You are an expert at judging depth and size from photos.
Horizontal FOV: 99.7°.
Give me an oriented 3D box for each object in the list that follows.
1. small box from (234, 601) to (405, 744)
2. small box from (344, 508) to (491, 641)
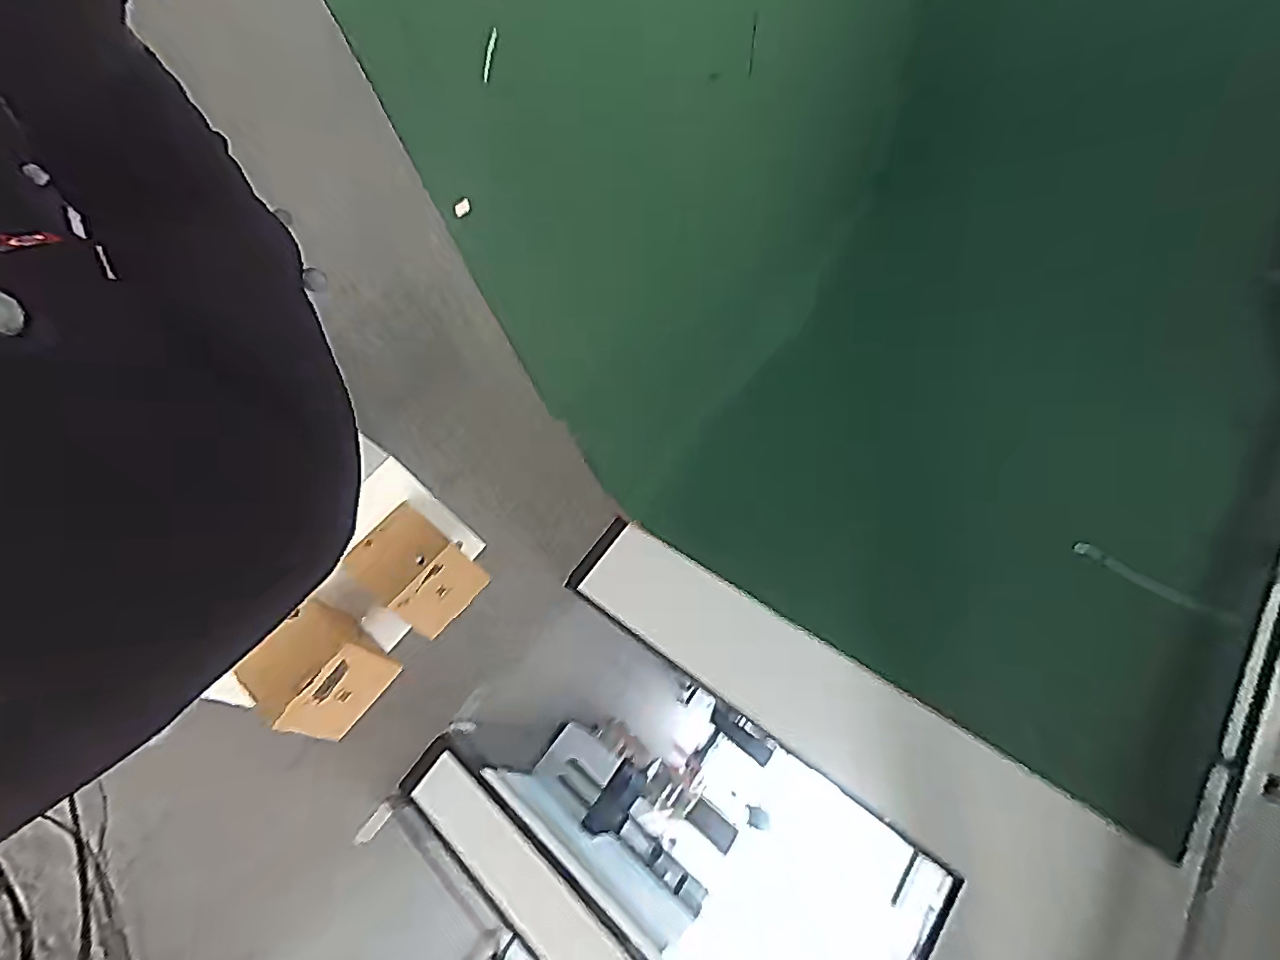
[{"bbox_3d":[-0.582,0.346,0.987,0.168,0.176,0.179,-50,150,-19],"label":"small box"},{"bbox_3d":[-0.437,0.184,1.074,0.168,0.176,0.179,-50,150,-21],"label":"small box"}]
